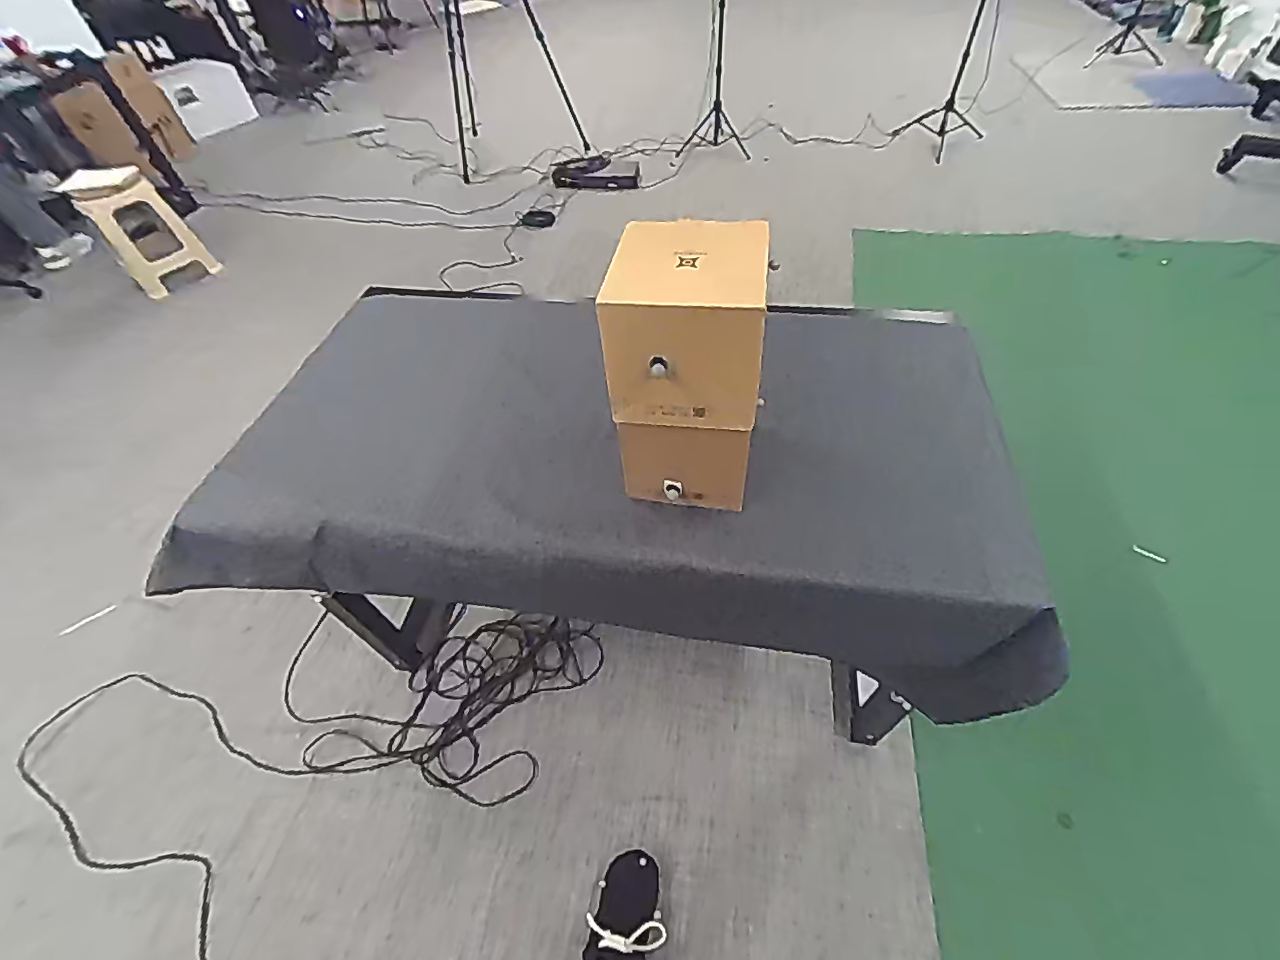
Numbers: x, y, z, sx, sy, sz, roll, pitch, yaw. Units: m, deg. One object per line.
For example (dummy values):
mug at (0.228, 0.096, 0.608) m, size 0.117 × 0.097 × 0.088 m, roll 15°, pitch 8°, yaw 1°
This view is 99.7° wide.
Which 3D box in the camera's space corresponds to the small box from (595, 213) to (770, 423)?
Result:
small box at (0.057, -0.183, 0.620) m, size 0.168 × 0.176 × 0.179 m, roll 4°, pitch 50°, yaw 10°

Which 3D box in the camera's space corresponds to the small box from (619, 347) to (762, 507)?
small box at (0.074, -0.087, 0.750) m, size 0.168 × 0.176 × 0.179 m, roll 5°, pitch 53°, yaw 10°
